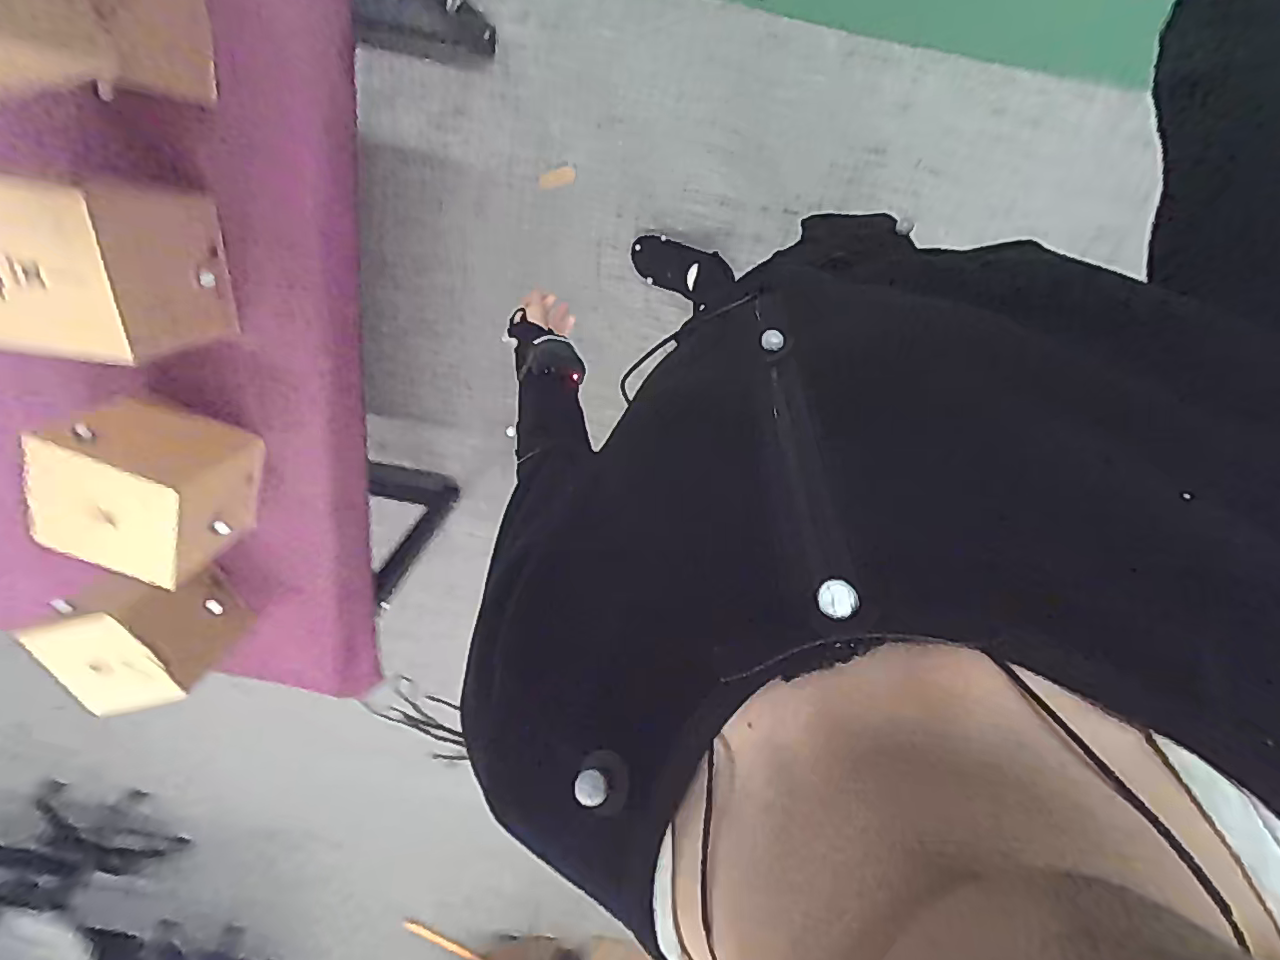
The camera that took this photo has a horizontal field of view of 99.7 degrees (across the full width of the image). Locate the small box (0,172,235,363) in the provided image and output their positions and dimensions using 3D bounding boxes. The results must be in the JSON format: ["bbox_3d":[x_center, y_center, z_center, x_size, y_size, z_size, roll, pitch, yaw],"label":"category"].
[{"bbox_3d":[-0.611,-0.241,0.607,0.179,0.176,0.168,7,117,-1],"label":"small box"}]

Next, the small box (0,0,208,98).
[{"bbox_3d":[-0.536,-0.474,0.488,0.168,0.176,0.179,13,116,-3],"label":"small box"}]

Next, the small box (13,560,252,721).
[{"bbox_3d":[-0.774,0.242,0.848,0.179,0.176,0.168,-14,115,9],"label":"small box"}]

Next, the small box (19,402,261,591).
[{"bbox_3d":[-0.659,0.014,0.736,0.179,0.176,0.168,23,115,-7],"label":"small box"}]
